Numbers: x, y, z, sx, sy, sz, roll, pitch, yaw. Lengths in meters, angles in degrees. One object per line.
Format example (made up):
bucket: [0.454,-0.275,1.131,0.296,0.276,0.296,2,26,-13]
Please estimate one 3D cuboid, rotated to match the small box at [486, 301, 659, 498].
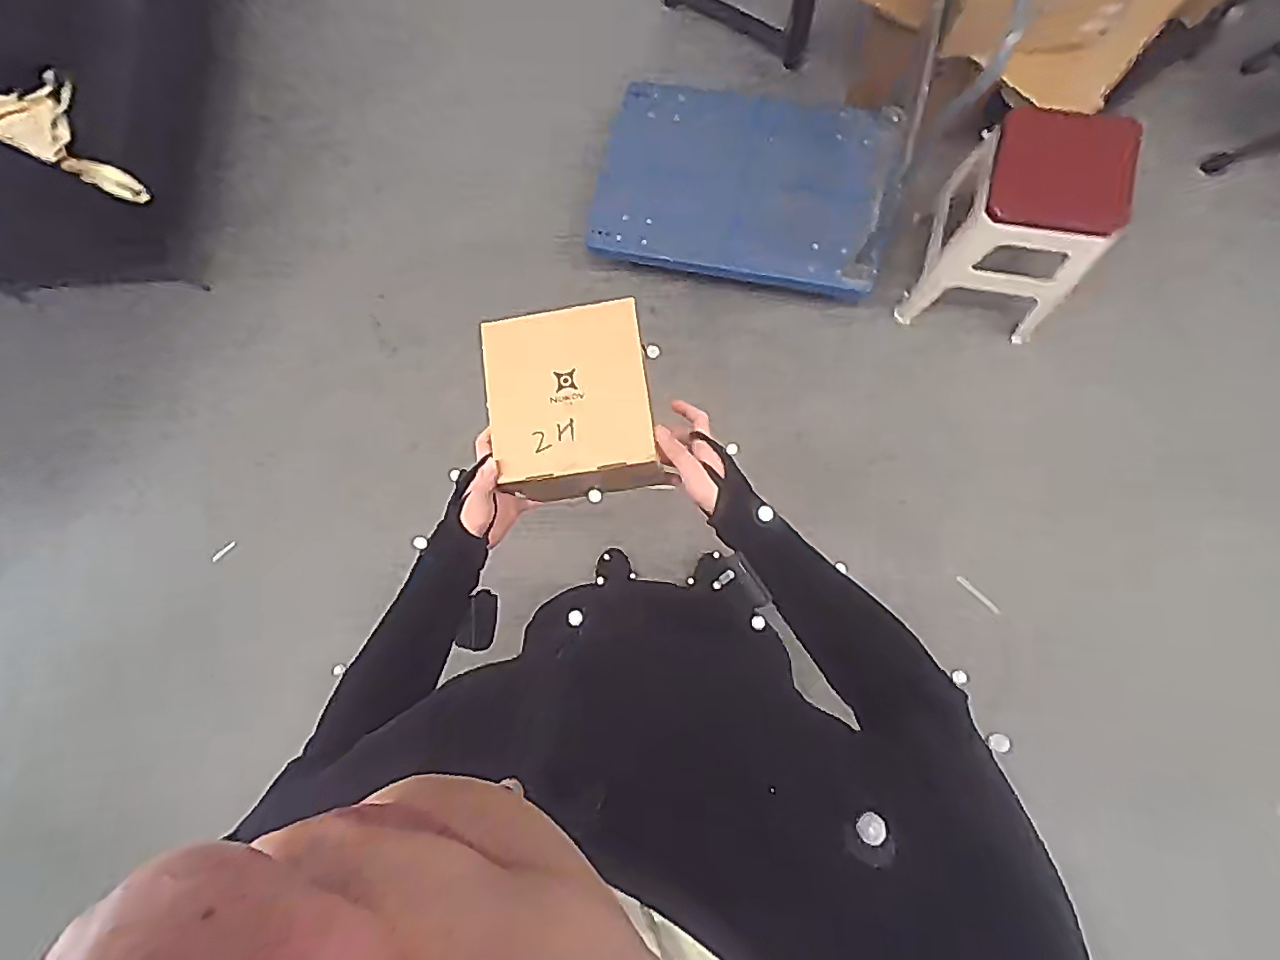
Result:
small box: [-0.070,-0.083,0.638,0.168,0.176,0.179,-7,81,4]
